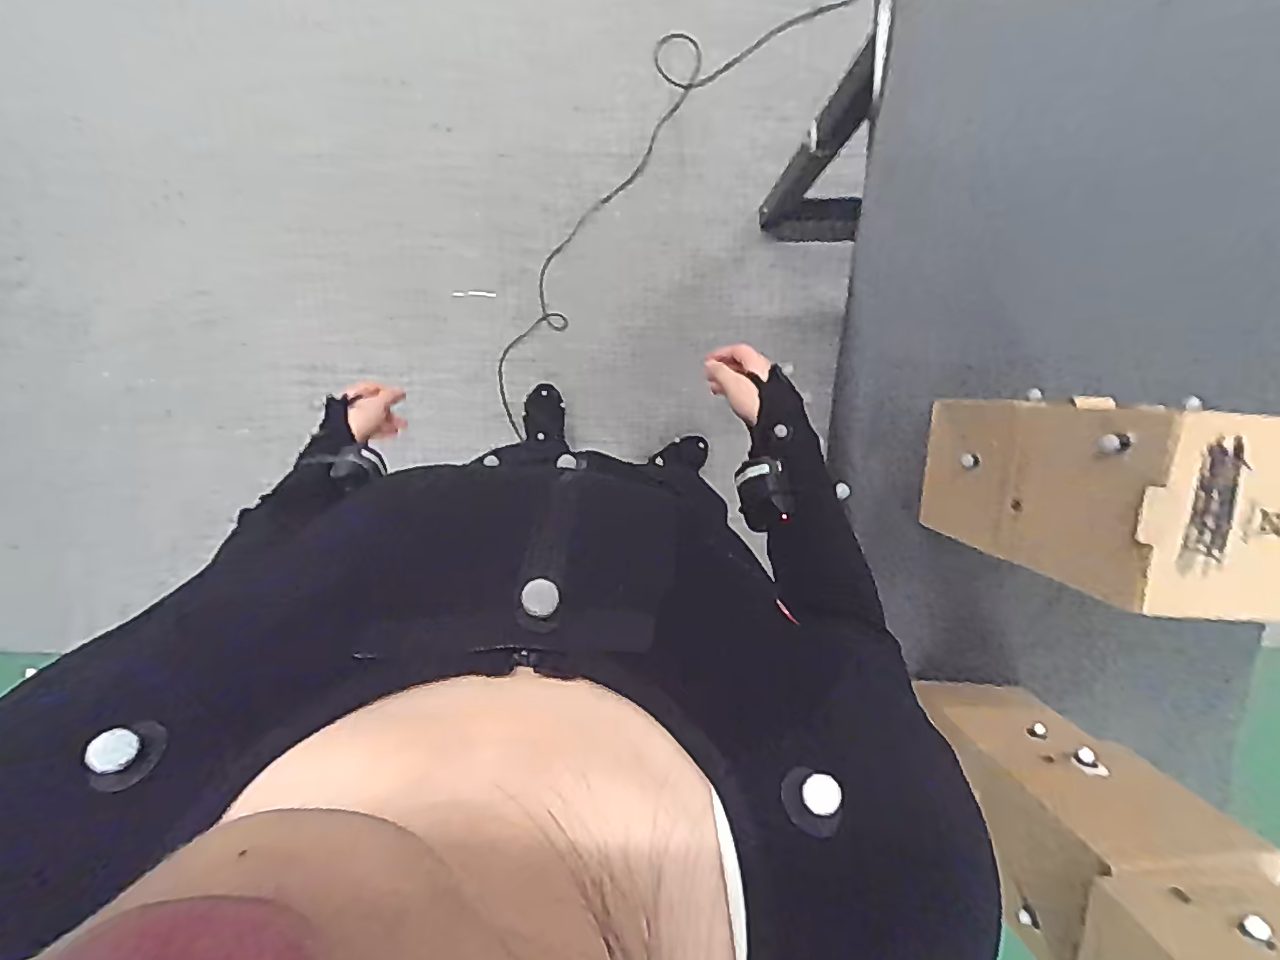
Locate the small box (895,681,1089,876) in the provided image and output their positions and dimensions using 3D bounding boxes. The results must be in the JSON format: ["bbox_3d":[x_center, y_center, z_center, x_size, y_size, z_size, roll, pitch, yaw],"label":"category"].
[{"bbox_3d":[0.475,0.387,0.719,0.179,0.176,0.168,5,97,-3],"label":"small box"}]

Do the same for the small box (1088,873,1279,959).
[{"bbox_3d":[0.468,0.435,0.394,0.168,0.176,0.179,2,98,-4],"label":"small box"}]

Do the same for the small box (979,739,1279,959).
[{"bbox_3d":[0.482,0.399,0.557,0.168,0.176,0.179,-3,97,-4],"label":"small box"}]

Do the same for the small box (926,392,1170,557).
[{"bbox_3d":[0.478,-0.014,0.663,0.168,0.176,0.179,2,98,-2],"label":"small box"}]
